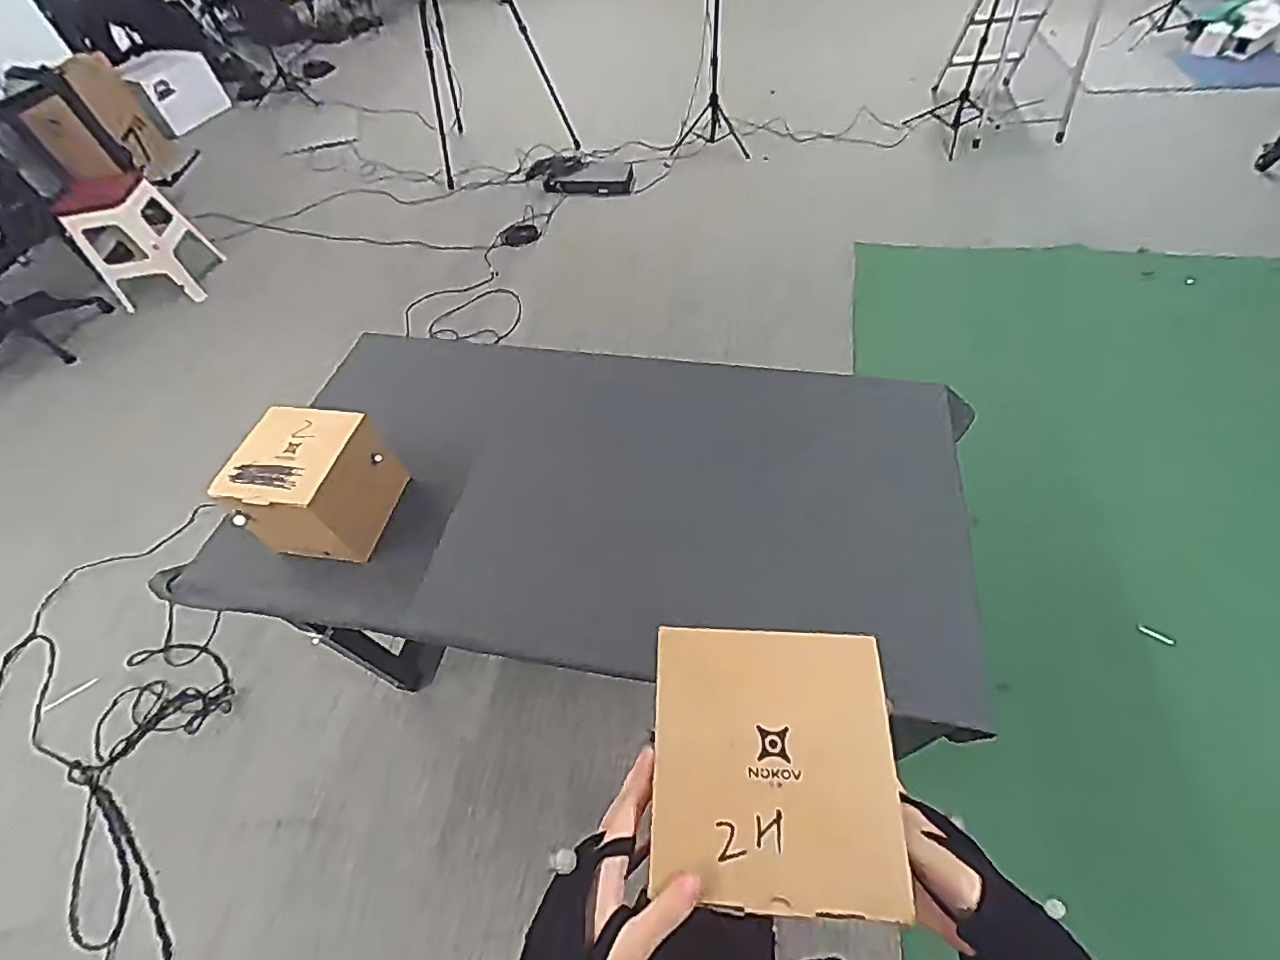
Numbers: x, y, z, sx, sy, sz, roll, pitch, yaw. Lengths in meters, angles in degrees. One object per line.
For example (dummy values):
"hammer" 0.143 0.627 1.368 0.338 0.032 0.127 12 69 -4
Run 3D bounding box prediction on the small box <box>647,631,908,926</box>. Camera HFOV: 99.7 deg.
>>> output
"small box" 0.096 0.237 0.450 0.168 0.176 0.179 0 61 6
